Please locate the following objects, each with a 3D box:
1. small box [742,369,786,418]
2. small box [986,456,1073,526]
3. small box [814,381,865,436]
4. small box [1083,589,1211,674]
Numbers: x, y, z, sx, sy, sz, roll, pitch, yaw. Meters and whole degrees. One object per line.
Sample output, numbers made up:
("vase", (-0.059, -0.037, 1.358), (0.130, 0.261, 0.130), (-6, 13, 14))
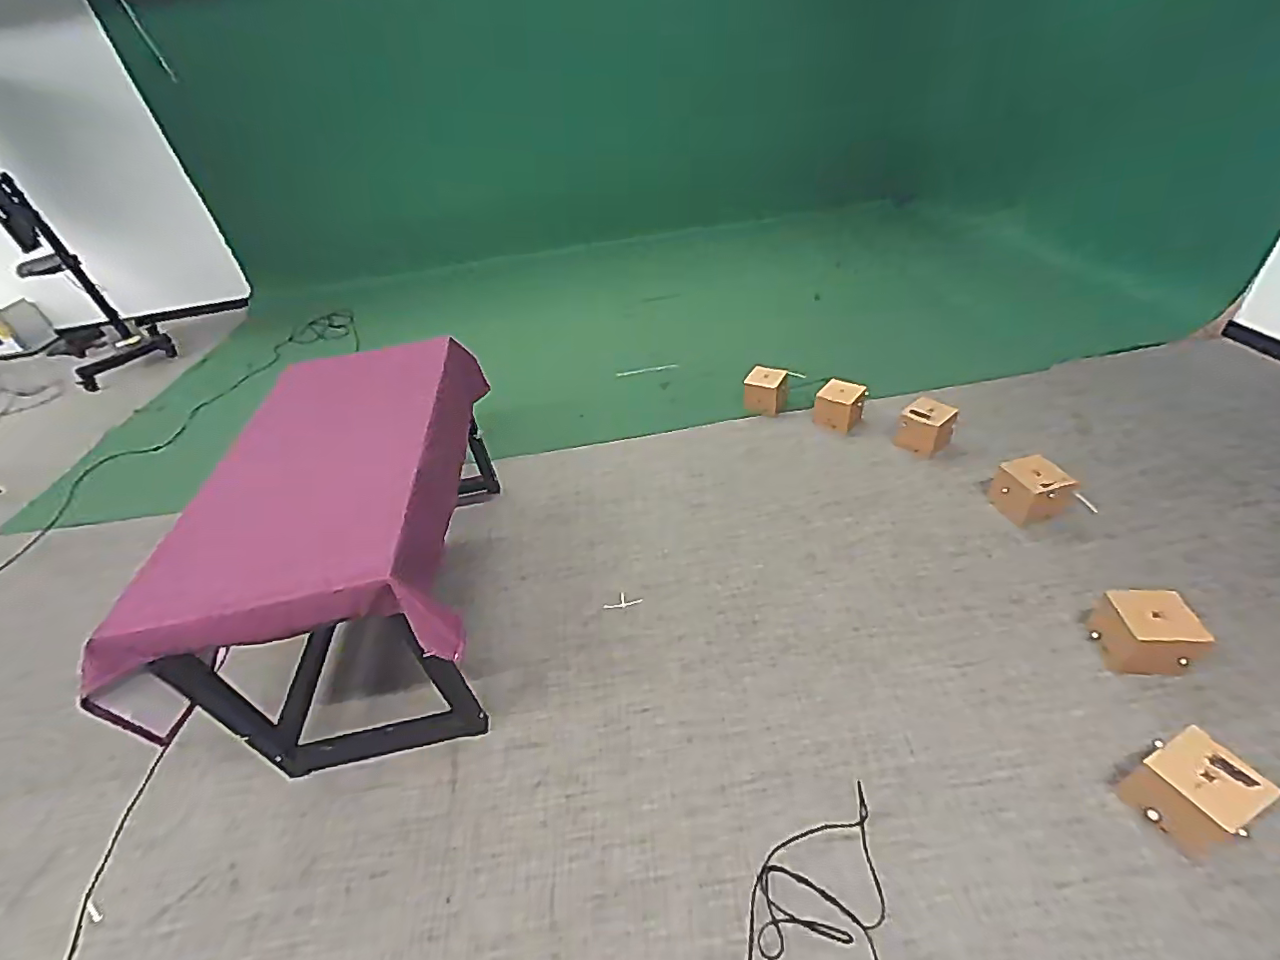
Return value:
("small box", (0.620, -0.428, 2.696), (0.168, 0.176, 0.179), (16, 45, 27))
("small box", (1.408, 0.041, 1.970), (0.168, 0.176, 0.179), (-14, 38, -5))
("small box", (0.926, -0.333, 2.525), (0.168, 0.176, 0.179), (24, 50, 34))
("small box", (1.399, 0.423, 1.507), (0.179, 0.176, 0.168), (-1, 39, 10))
